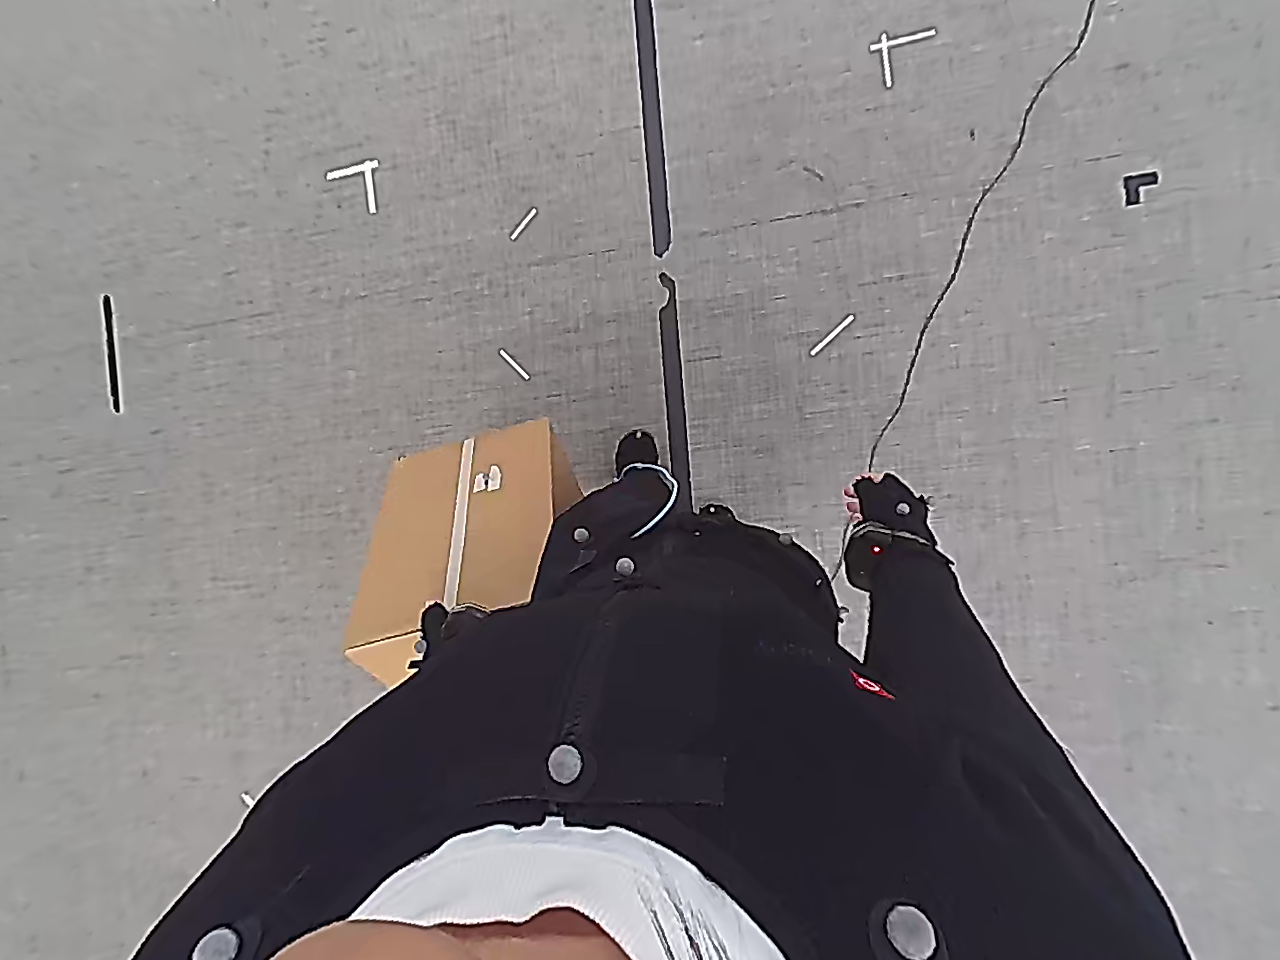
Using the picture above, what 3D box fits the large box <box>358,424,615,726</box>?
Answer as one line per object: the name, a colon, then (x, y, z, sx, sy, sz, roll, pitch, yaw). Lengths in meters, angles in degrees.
large box: (-0.251, 0.168, 0.997, 0.320, 0.320, 0.408, -14, 43, 2)
